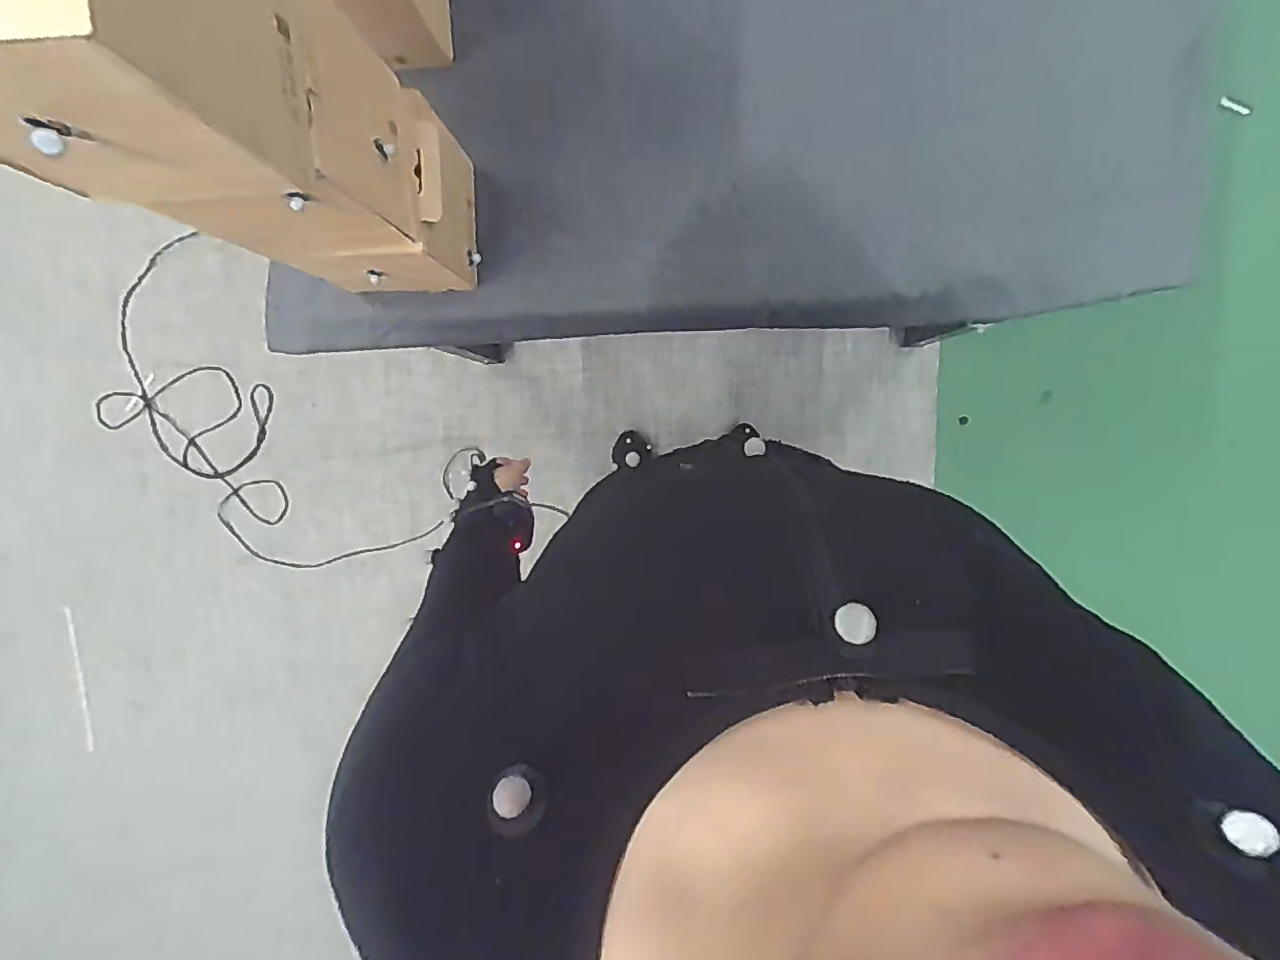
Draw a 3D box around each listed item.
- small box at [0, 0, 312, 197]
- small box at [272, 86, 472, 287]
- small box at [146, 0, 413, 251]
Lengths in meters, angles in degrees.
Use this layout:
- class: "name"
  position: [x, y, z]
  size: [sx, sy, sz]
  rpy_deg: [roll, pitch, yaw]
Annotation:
- class: "small box"
  position: [-0.341, -0.291, 0.328]
  size: [0.179, 0.176, 0.168]
  rpy_deg: [-2, 96, 3]
- class: "small box"
  position: [-0.311, -0.337, 0.650]
  size: [0.179, 0.176, 0.168]
  rpy_deg: [0, 97, 3]
- class: "small box"
  position: [-0.335, -0.321, 0.490]
  size: [0.179, 0.176, 0.168]
  rpy_deg: [-5, 96, 3]
